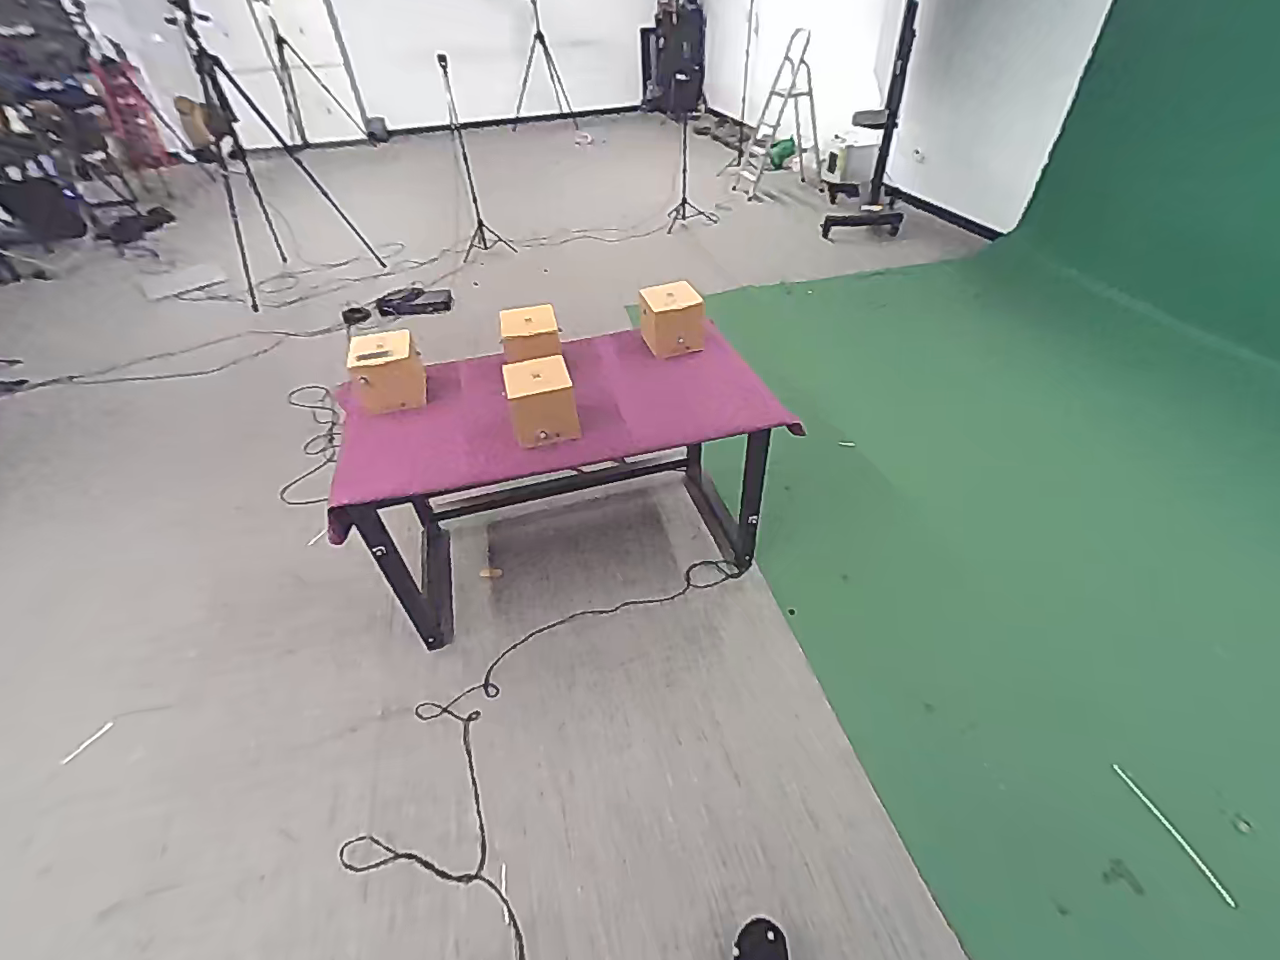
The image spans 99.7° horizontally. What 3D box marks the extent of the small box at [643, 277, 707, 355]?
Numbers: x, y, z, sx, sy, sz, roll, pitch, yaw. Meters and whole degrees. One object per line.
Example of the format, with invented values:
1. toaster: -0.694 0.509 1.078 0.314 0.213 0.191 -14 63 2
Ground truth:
1. small box: 0.113 -0.534 1.764 0.168 0.176 0.179 -16 45 -7

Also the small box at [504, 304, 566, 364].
1. small box: -0.326 -0.428 1.701 0.168 0.176 0.179 -11 46 -7

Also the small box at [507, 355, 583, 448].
1. small box: -0.257 -0.213 1.465 0.168 0.176 0.179 -14 43 -8
